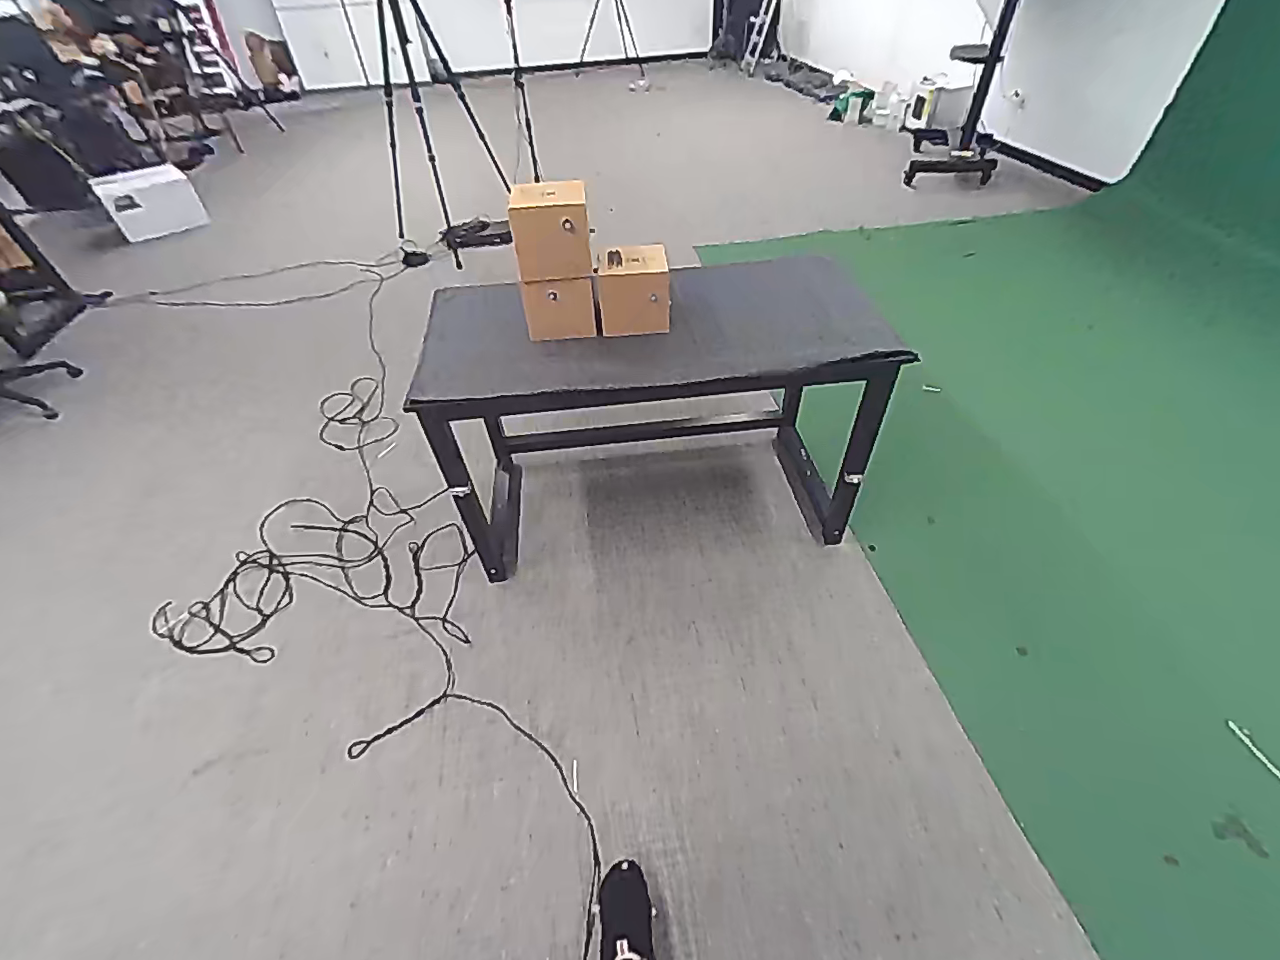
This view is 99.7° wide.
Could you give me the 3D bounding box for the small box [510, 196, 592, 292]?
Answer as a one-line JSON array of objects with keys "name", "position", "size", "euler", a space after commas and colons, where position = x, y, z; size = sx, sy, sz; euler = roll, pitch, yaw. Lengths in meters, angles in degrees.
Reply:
[{"name": "small box", "position": [-0.209, -0.574, 1.316], "size": [0.179, 0.176, 0.168], "euler": [-5, 44, -3]}]
